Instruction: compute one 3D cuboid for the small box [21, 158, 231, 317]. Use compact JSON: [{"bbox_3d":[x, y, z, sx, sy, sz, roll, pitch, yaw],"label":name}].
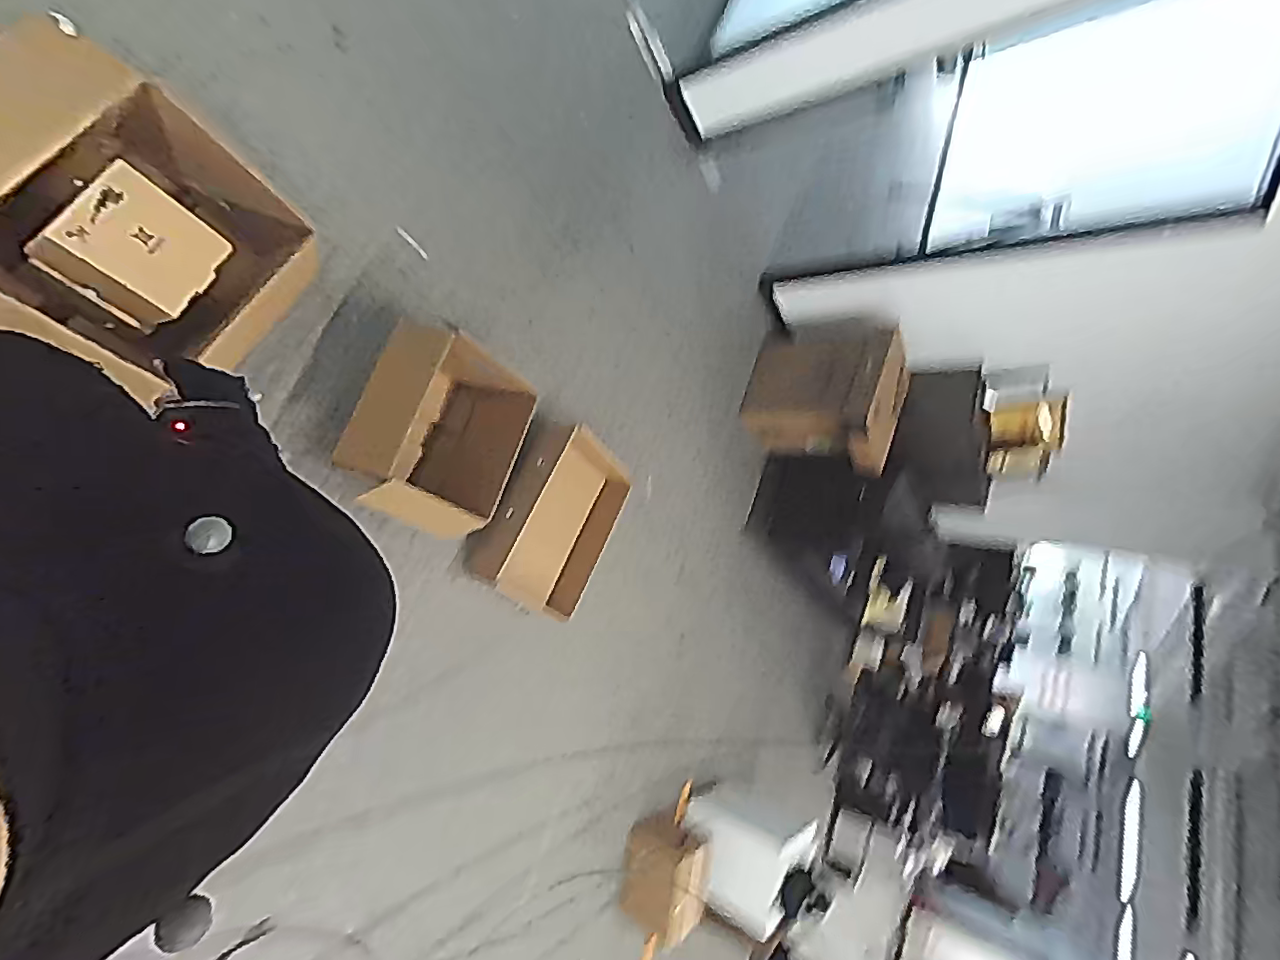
[{"bbox_3d":[-0.850,-0.391,0.900,0.179,0.176,0.168,49,55,-49],"label":"small box"}]
